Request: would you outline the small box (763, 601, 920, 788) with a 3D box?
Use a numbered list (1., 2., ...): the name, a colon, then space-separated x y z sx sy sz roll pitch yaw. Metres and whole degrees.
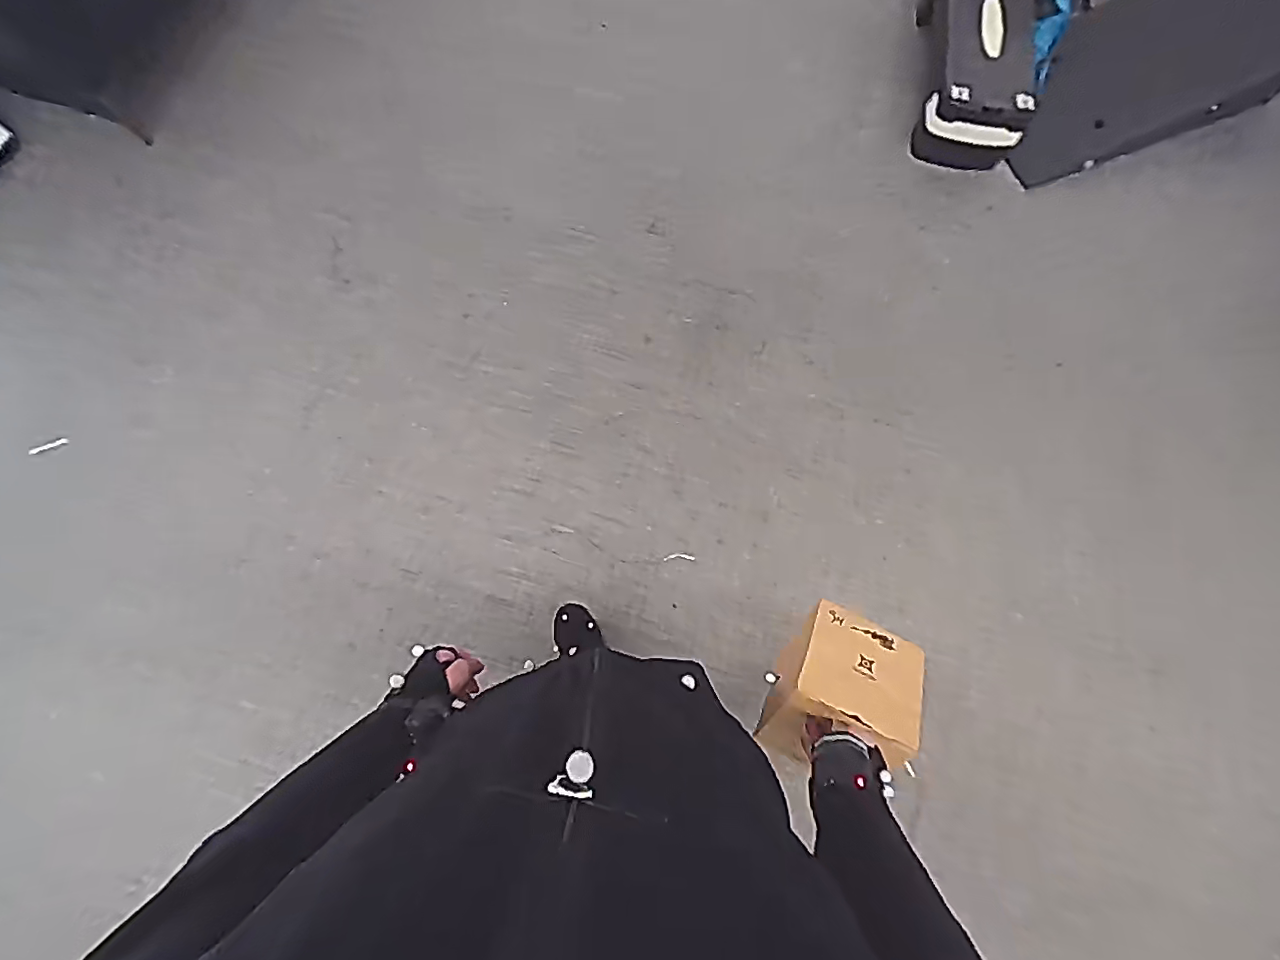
1. small box: 0.299 0.325 0.818 0.168 0.176 0.179 23 41 12
